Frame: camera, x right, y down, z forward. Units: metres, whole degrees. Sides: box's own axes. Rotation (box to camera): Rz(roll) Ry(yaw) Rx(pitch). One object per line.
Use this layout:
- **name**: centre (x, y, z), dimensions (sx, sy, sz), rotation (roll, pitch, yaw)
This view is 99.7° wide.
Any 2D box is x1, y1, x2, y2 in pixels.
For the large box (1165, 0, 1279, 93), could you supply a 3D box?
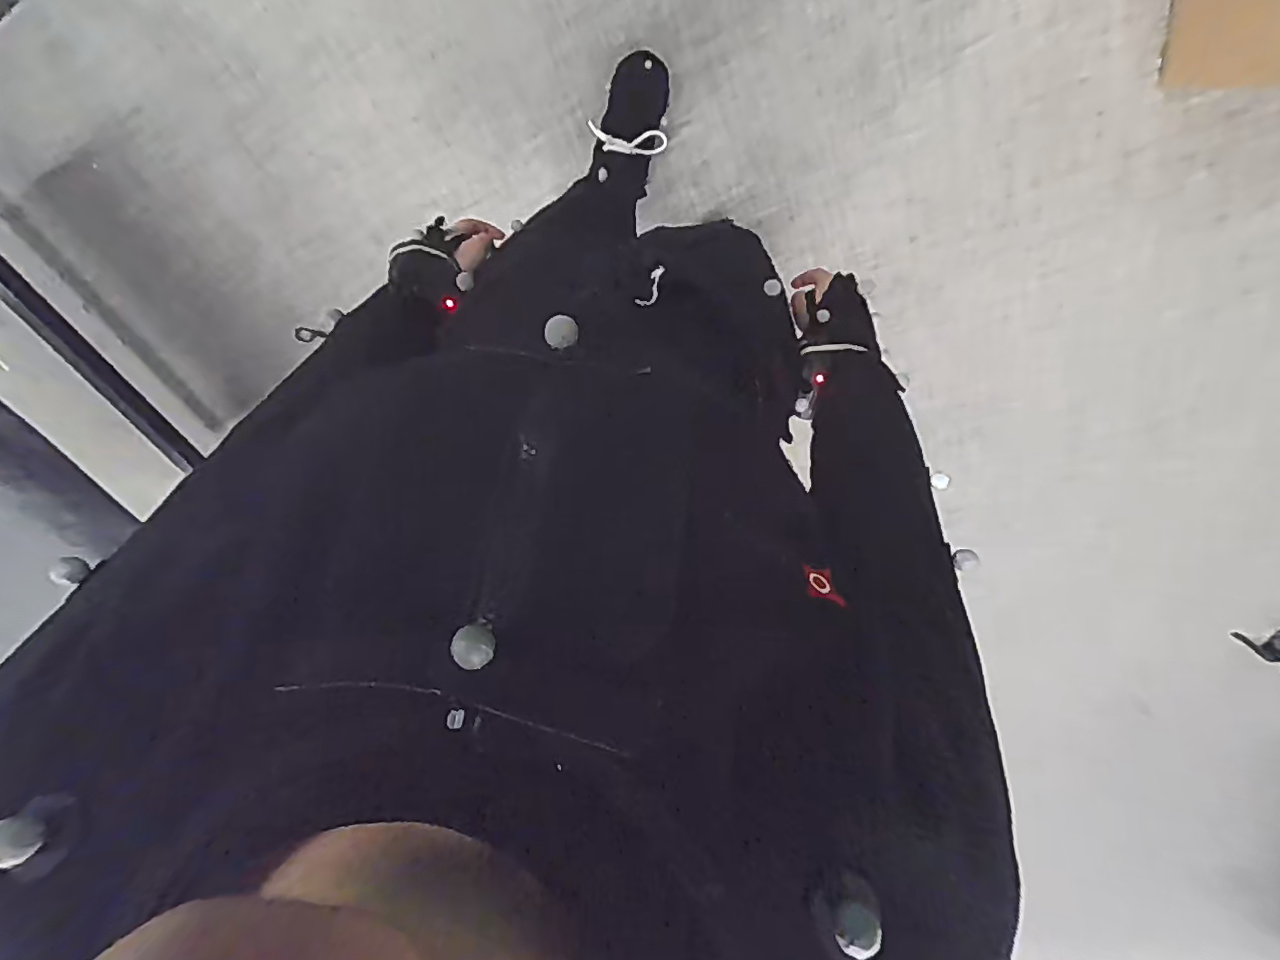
- **large box**: centre (0.953, -0.768, 0.663), dimensions (0.320, 0.320, 0.408), rotation (-12, 124, 18)
